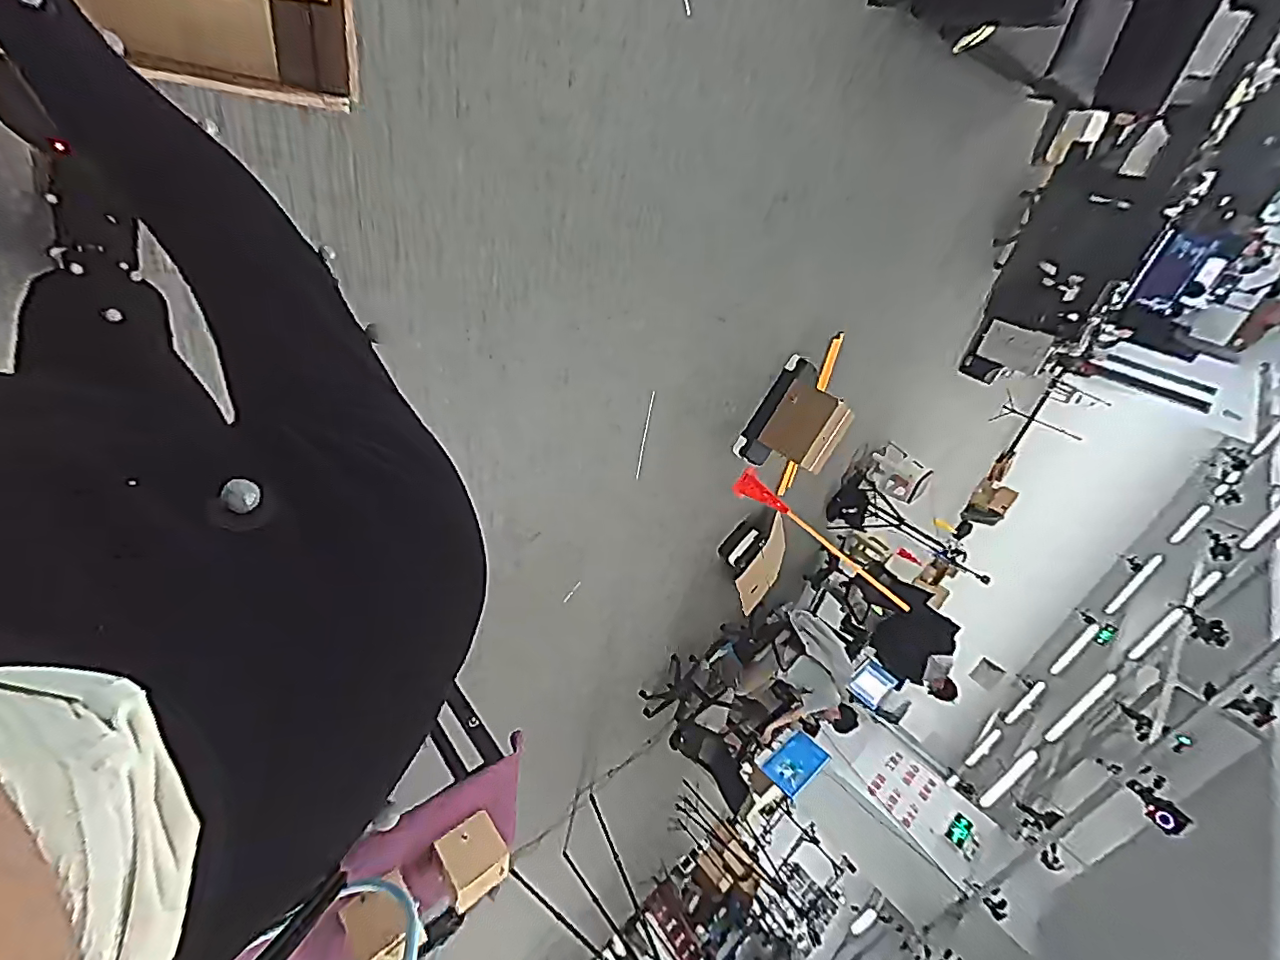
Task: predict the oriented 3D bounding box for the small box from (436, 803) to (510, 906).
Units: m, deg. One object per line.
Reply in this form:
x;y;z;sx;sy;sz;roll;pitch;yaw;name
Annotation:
-0.538;1.190;1.727;0.179;0.176;0.168;-18;134;-40;small box

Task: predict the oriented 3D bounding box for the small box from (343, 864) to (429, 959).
-0.733;1.261;1.558;0.168;0.176;0.179;-23;137;-36;small box
